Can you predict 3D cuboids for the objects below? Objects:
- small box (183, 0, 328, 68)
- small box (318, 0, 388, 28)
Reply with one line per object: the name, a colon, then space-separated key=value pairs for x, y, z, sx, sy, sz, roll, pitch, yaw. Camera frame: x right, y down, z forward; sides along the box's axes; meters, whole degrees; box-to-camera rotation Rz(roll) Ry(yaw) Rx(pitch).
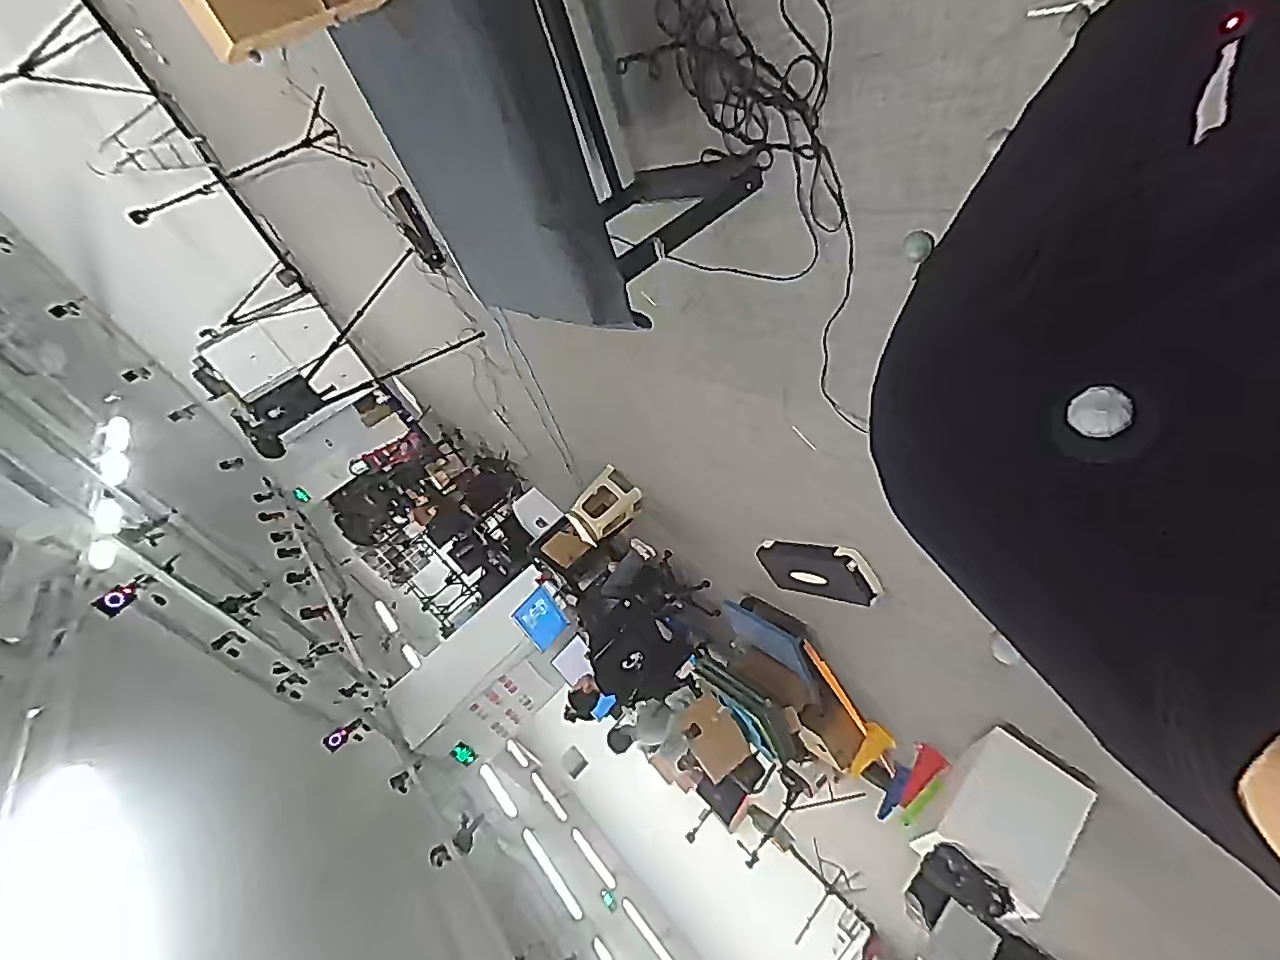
small box: x=-0.643 y=-0.811 z=0.875 sx=0.179 sy=0.176 sz=0.168 roll=28 pitch=153 yaw=45
small box: x=-0.536 y=-0.919 z=0.934 sx=0.179 sy=0.176 sz=0.168 roll=27 pitch=152 yaw=43
